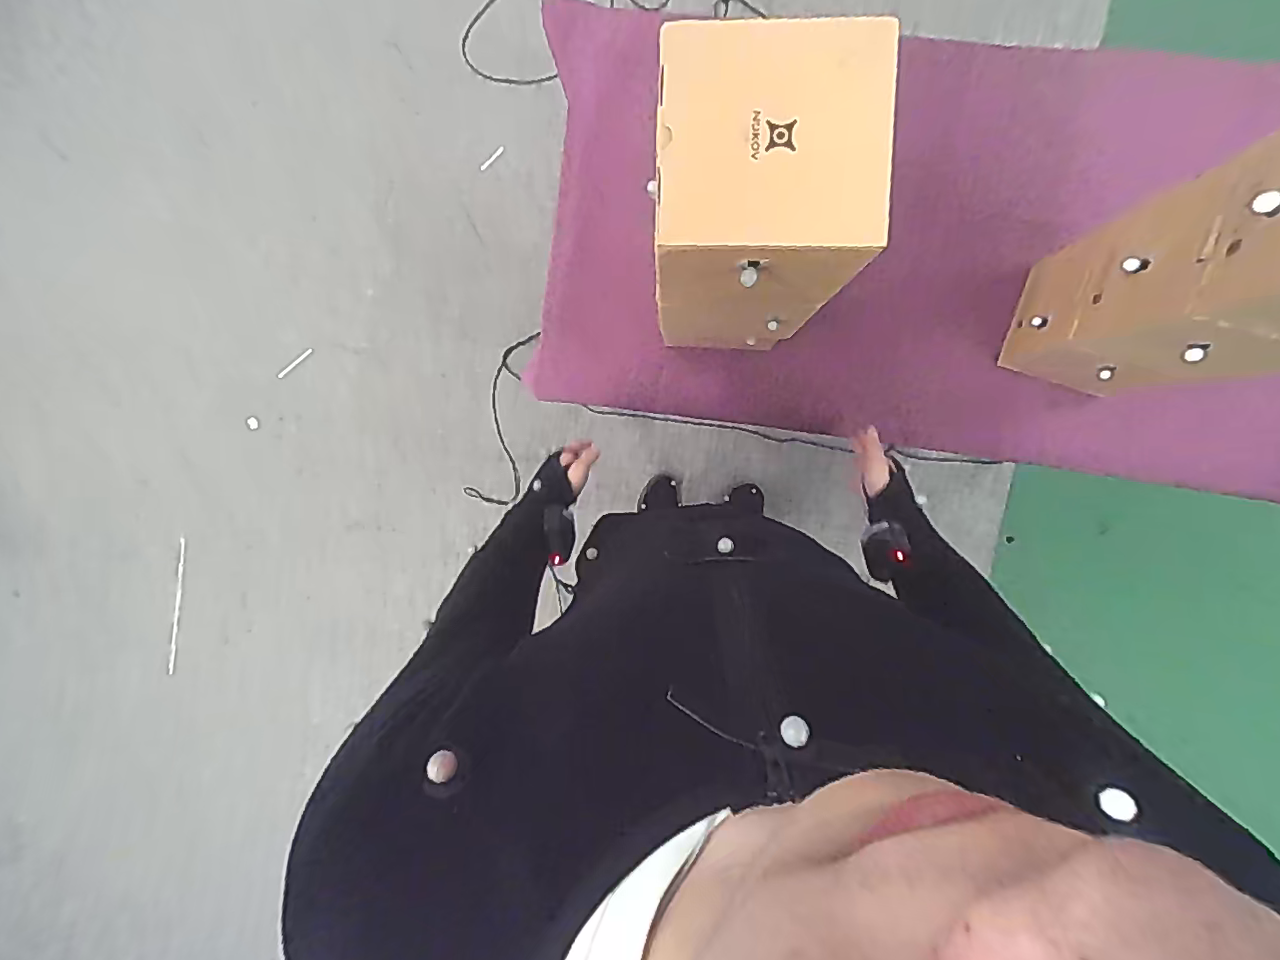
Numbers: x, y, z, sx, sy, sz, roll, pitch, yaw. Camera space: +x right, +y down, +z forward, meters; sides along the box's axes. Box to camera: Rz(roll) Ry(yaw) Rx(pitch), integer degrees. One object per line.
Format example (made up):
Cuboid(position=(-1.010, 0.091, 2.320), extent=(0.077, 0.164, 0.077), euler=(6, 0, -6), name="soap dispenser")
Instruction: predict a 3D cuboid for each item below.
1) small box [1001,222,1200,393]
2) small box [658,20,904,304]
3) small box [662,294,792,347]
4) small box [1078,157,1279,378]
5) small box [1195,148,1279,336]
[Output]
Cuboid(position=(0.668, -0.232, 0.773), extent=(0.179, 0.176, 0.168), euler=(19, 95, 2), name="small box")
Cuboid(position=(0.107, -0.260, 0.482), extent=(0.179, 0.176, 0.168), euler=(2, 95, 4), name="small box")
Cuboid(position=(0.127, -0.298, 0.807), extent=(0.179, 0.176, 0.168), euler=(4, 94, 4), name="small box")
Cuboid(position=(0.656, -0.221, 0.610), extent=(0.179, 0.176, 0.168), euler=(16, 95, 4), name="small box")
Cuboid(position=(0.645, -0.213, 0.446), extent=(0.179, 0.176, 0.168), euler=(15, 94, 4), name="small box")
